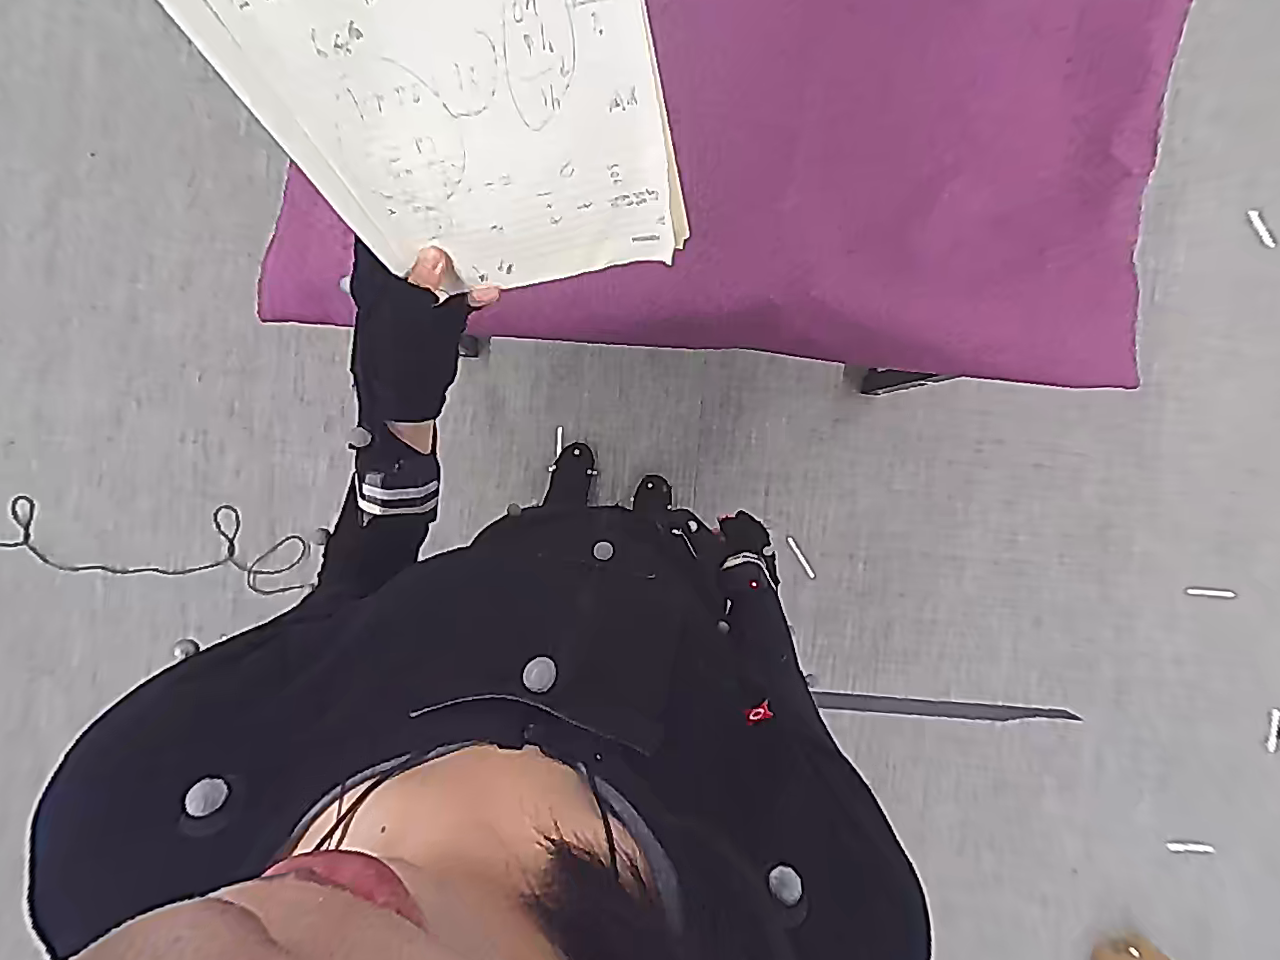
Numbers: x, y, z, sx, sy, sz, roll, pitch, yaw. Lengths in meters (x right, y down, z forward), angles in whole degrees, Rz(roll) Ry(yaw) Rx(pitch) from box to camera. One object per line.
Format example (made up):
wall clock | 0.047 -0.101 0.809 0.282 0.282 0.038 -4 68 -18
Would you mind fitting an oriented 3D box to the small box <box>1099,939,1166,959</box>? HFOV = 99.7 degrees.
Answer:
small box | 1.512 1.522 1.589 0.168 0.176 0.179 -18 92 -3
